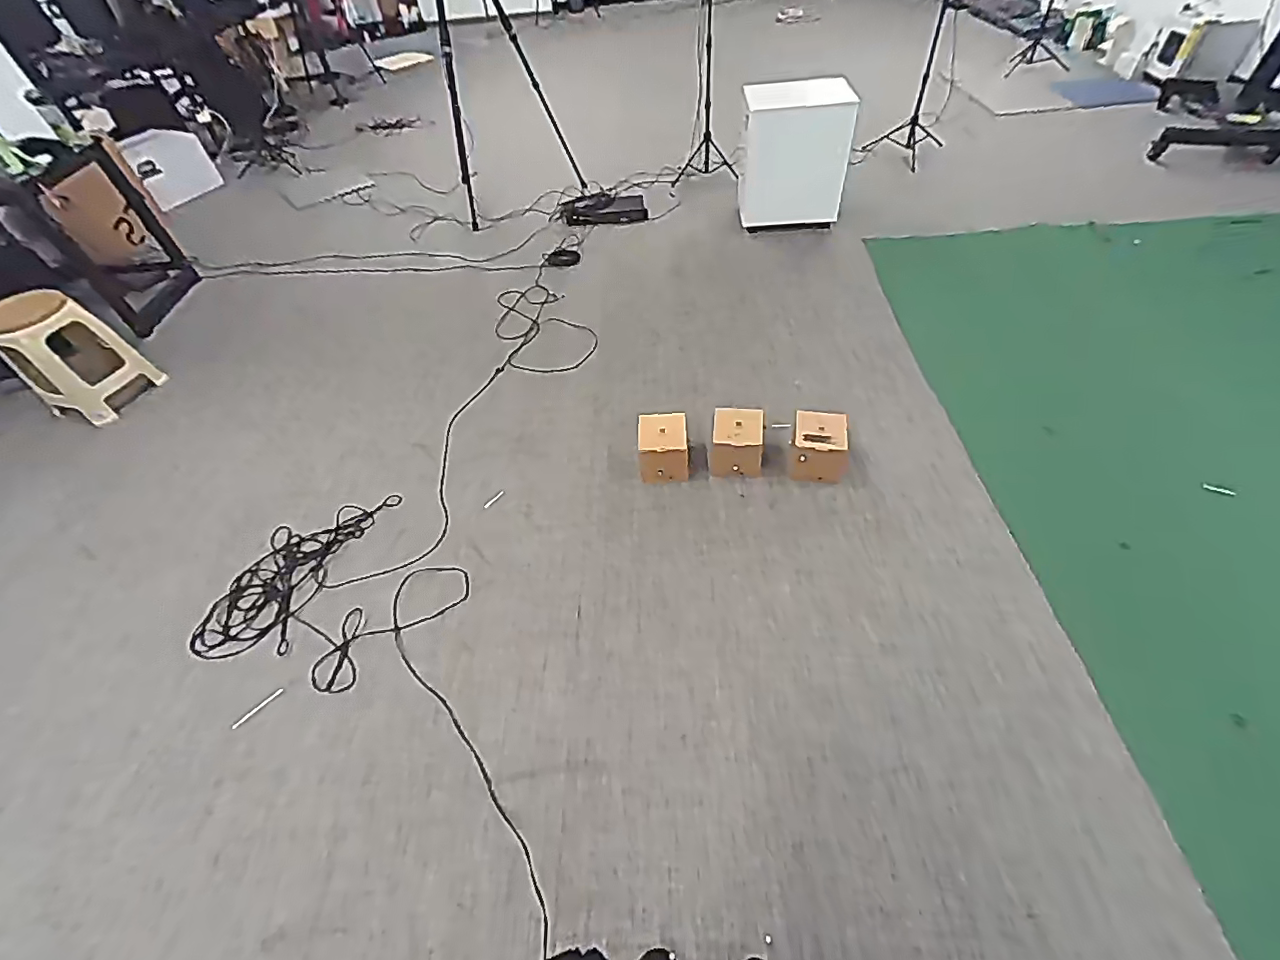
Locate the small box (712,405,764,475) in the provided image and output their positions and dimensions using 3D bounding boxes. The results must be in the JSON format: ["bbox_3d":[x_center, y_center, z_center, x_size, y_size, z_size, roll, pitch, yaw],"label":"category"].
[{"bbox_3d":[0.344,-0.140,1.895,0.168,0.176,0.179,4,51,9],"label":"small box"}]

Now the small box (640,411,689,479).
[{"bbox_3d":[0.087,-0.123,1.908,0.168,0.176,0.179,-2,51,4],"label":"small box"}]
